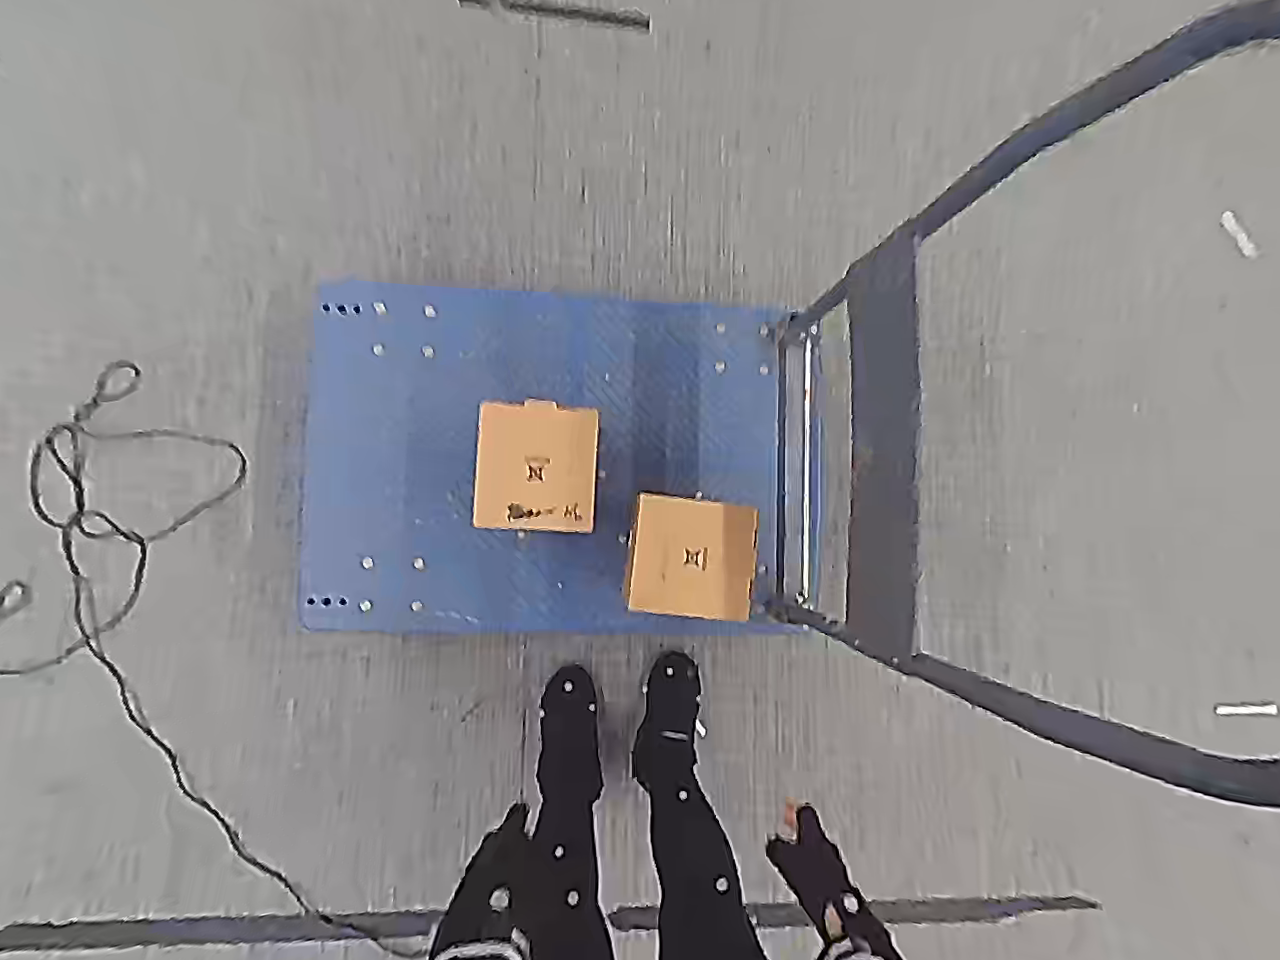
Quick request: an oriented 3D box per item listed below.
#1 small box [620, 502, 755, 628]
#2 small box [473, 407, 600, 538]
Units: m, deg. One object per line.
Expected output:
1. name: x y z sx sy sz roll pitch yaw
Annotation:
1. small box: 0.067 0.128 0.853 0.179 0.176 0.168 7 84 -3
2. small box: -0.152 -0.004 0.839 0.168 0.176 0.179 4 85 -4
